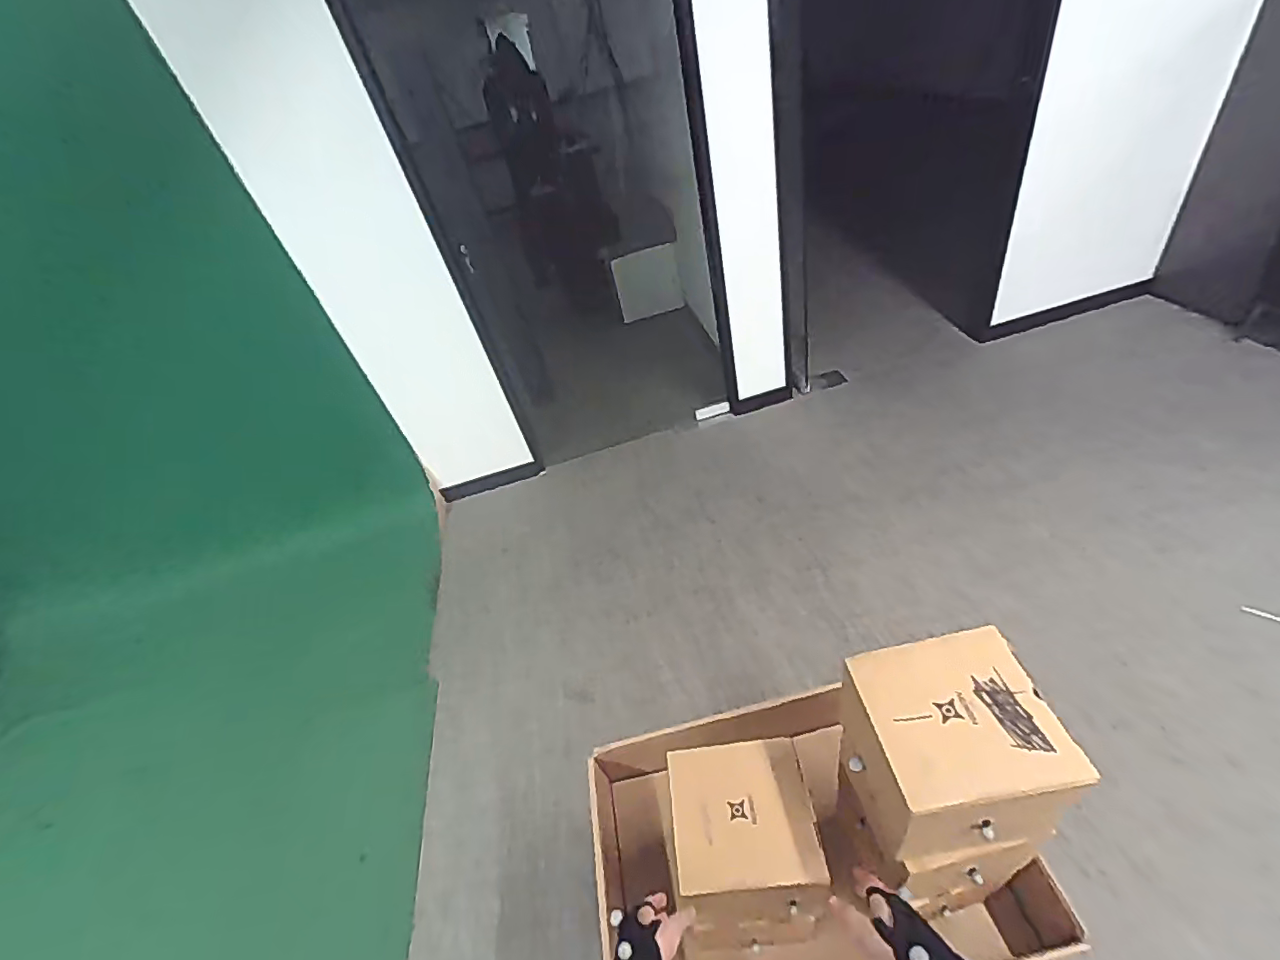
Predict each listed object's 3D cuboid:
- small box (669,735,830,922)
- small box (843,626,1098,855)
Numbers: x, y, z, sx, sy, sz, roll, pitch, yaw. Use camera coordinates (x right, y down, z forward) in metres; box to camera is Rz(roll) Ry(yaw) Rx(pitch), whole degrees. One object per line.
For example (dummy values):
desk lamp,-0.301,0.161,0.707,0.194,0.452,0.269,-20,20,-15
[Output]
small box,0.140,0.469,0.728,0.179,0.176,0.168,-9,40,4
small box,0.342,0.293,0.605,0.179,0.176,0.168,-14,41,5
